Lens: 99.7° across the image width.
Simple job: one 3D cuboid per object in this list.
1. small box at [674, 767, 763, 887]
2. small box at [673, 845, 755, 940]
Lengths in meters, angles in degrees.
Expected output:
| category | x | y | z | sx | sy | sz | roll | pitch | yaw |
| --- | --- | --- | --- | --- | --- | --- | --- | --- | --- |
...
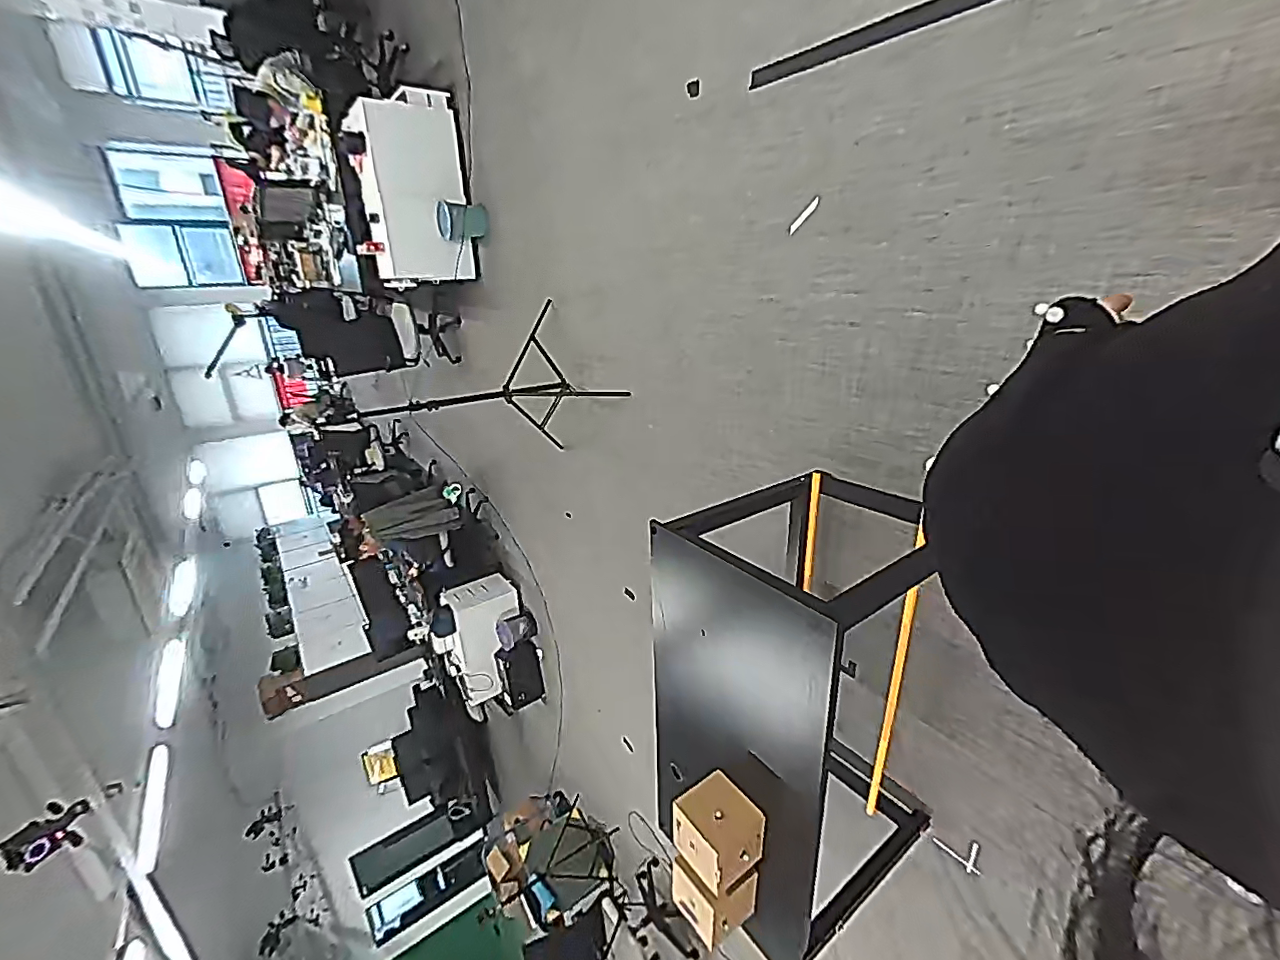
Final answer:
| category | x | y | z | sx | sy | sz | roll | pitch | yaw |
| --- | --- | --- | --- | --- | --- | --- | --- | --- | --- |
| small box | 0.208 | 0.912 | 1.442 | 0.179 | 0.176 | 0.168 | 25 | 123 | 49 |
| small box | 0.209 | 1.126 | 1.533 | 0.168 | 0.176 | 0.179 | 25 | 123 | 49 |
